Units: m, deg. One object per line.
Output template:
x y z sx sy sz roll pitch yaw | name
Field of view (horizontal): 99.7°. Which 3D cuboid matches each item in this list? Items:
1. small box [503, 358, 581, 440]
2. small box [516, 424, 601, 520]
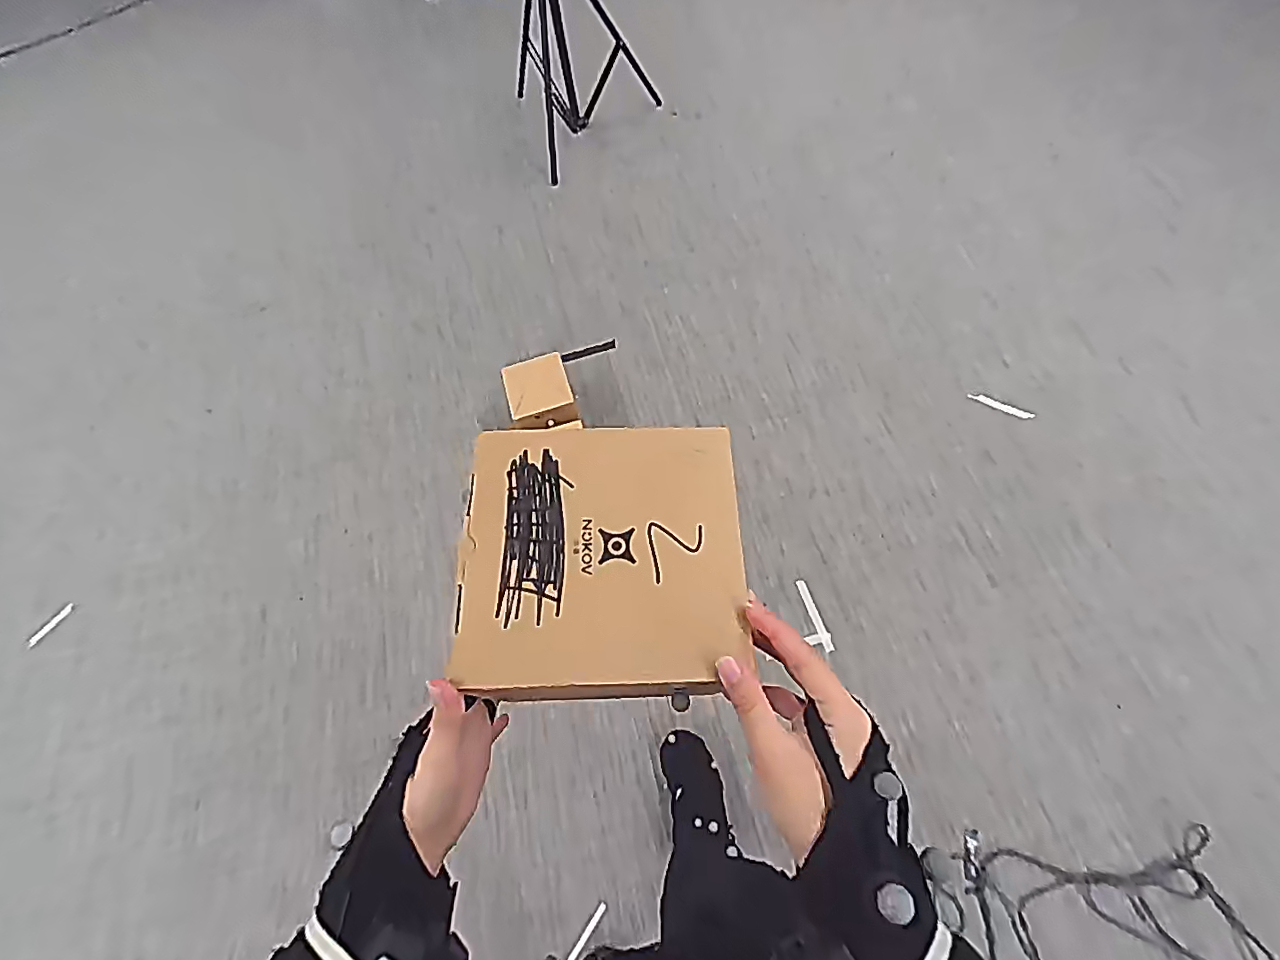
-0.269 -0.210 1.501 0.168 0.176 0.179 -18 64 -3 | small box
-0.205 -0.016 1.409 0.179 0.176 0.168 -17 64 -2 | small box
